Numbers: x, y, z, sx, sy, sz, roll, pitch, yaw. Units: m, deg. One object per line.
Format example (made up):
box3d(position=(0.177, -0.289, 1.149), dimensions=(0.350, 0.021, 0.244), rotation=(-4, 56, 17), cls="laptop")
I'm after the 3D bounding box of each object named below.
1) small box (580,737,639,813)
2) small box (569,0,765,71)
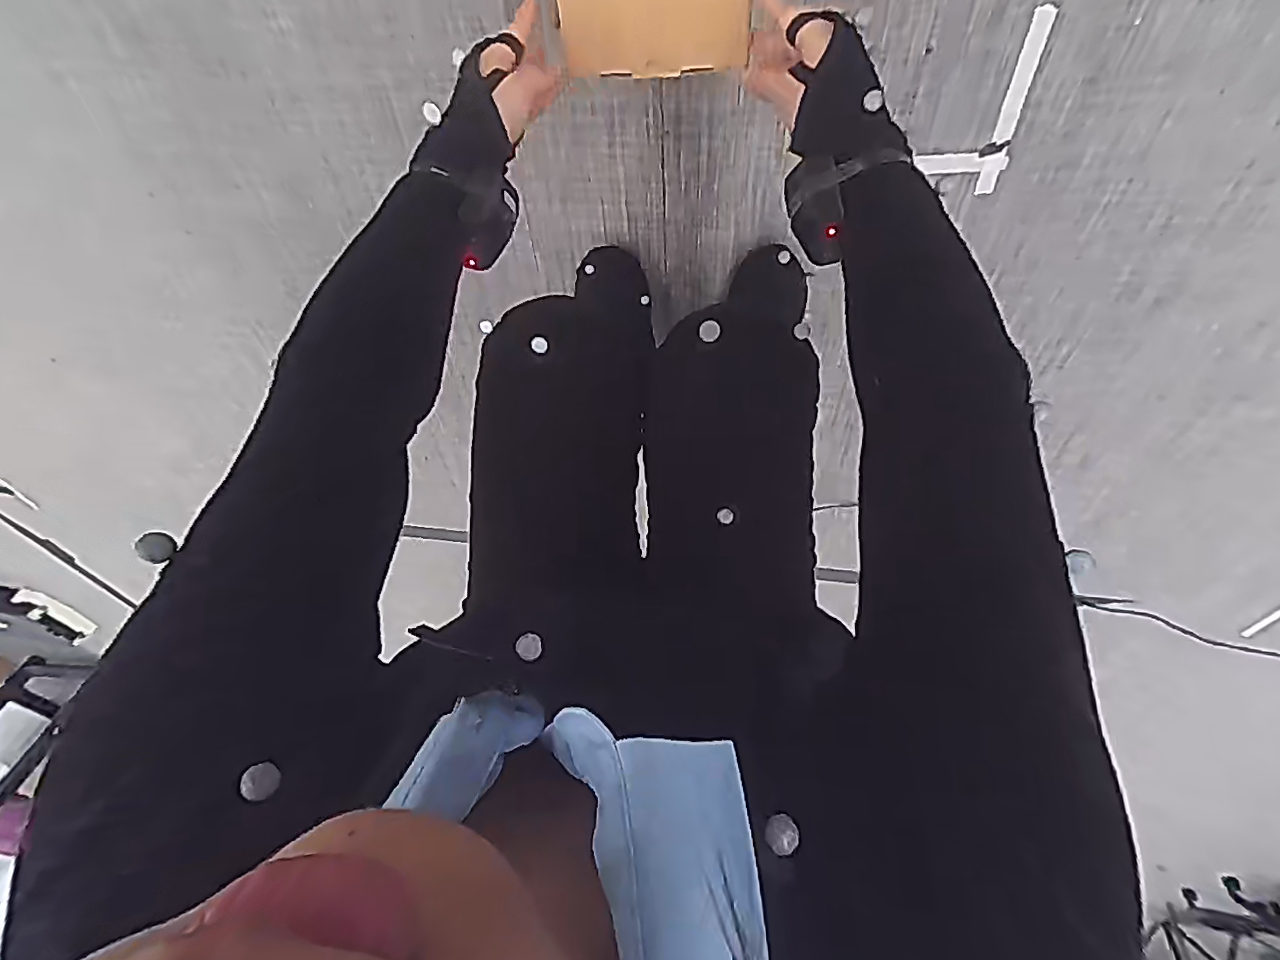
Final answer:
box3d(position=(-0.095, 0.962, 1.763), dimensions=(0.168, 0.176, 0.179), rotation=(5, 137, 5), cls="small box")
box3d(position=(0.028, -0.487, 0.475), dimensions=(0.168, 0.176, 0.179), rotation=(3, 137, 9), cls="small box")
